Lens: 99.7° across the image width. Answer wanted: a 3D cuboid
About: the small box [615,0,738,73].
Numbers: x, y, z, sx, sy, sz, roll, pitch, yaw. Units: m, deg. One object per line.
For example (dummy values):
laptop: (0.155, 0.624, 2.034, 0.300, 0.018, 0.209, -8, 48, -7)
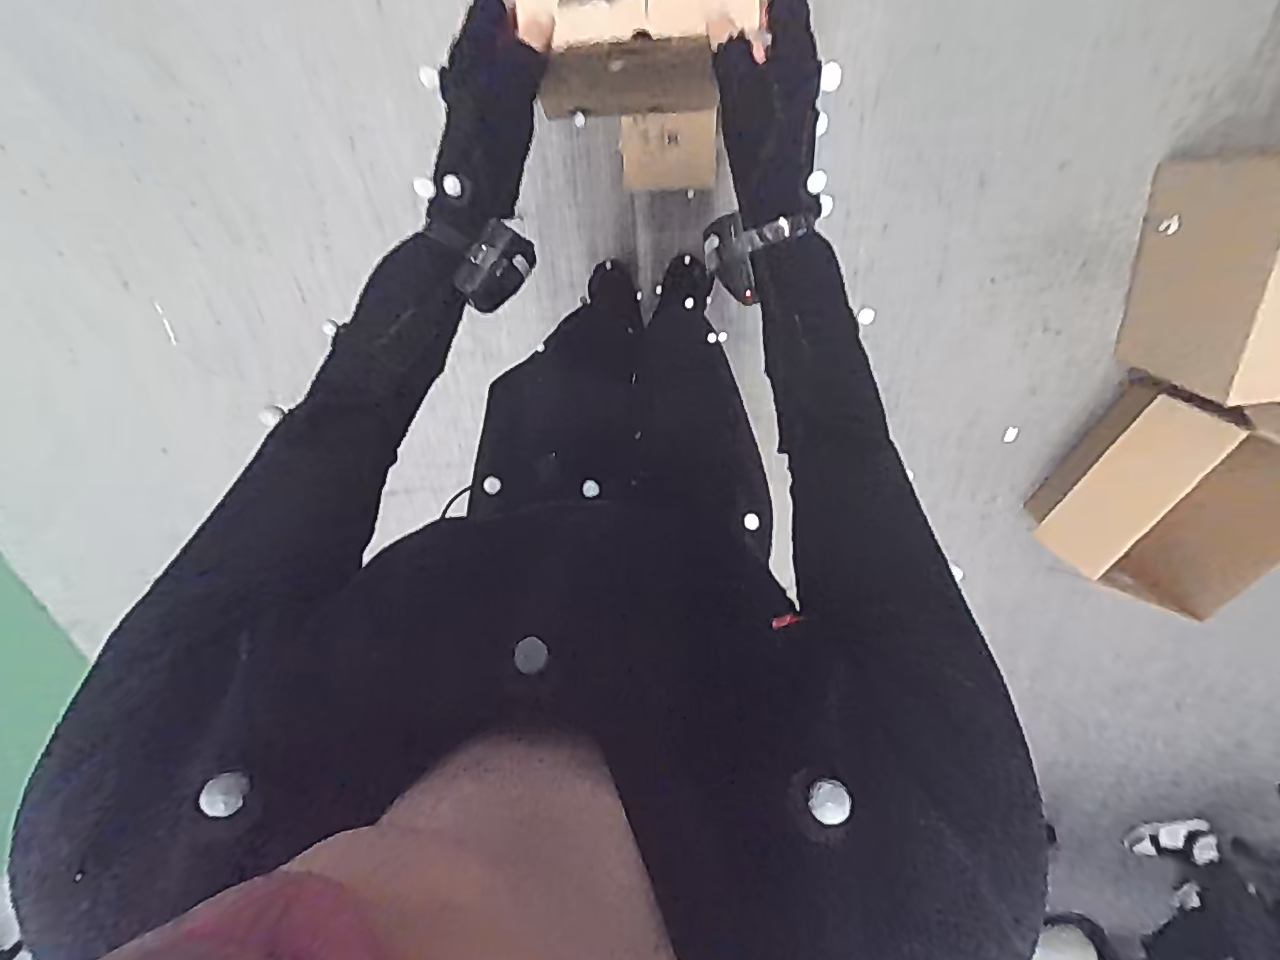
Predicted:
small box: (0.052, -0.744, 0.827, 0.179, 0.176, 0.168, -3, 118, 5)
